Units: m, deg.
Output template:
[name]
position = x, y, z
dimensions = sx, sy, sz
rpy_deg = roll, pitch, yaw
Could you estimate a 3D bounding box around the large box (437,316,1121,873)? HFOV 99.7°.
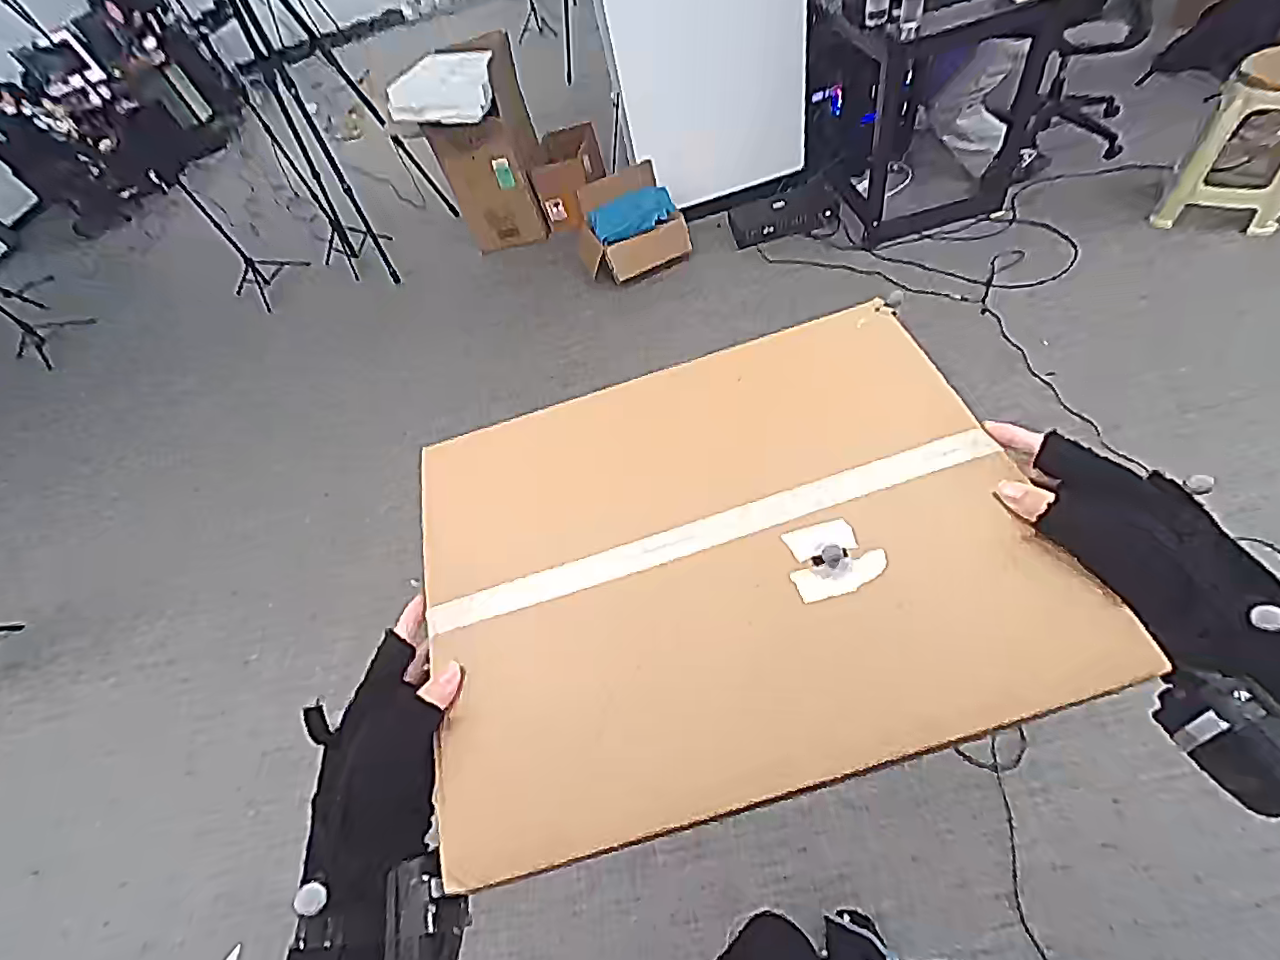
[large box]
position = 0.075, 0.117, 0.512
dimensions = 0.408, 0.320, 0.320
rpy_deg = -18, 58, 0
